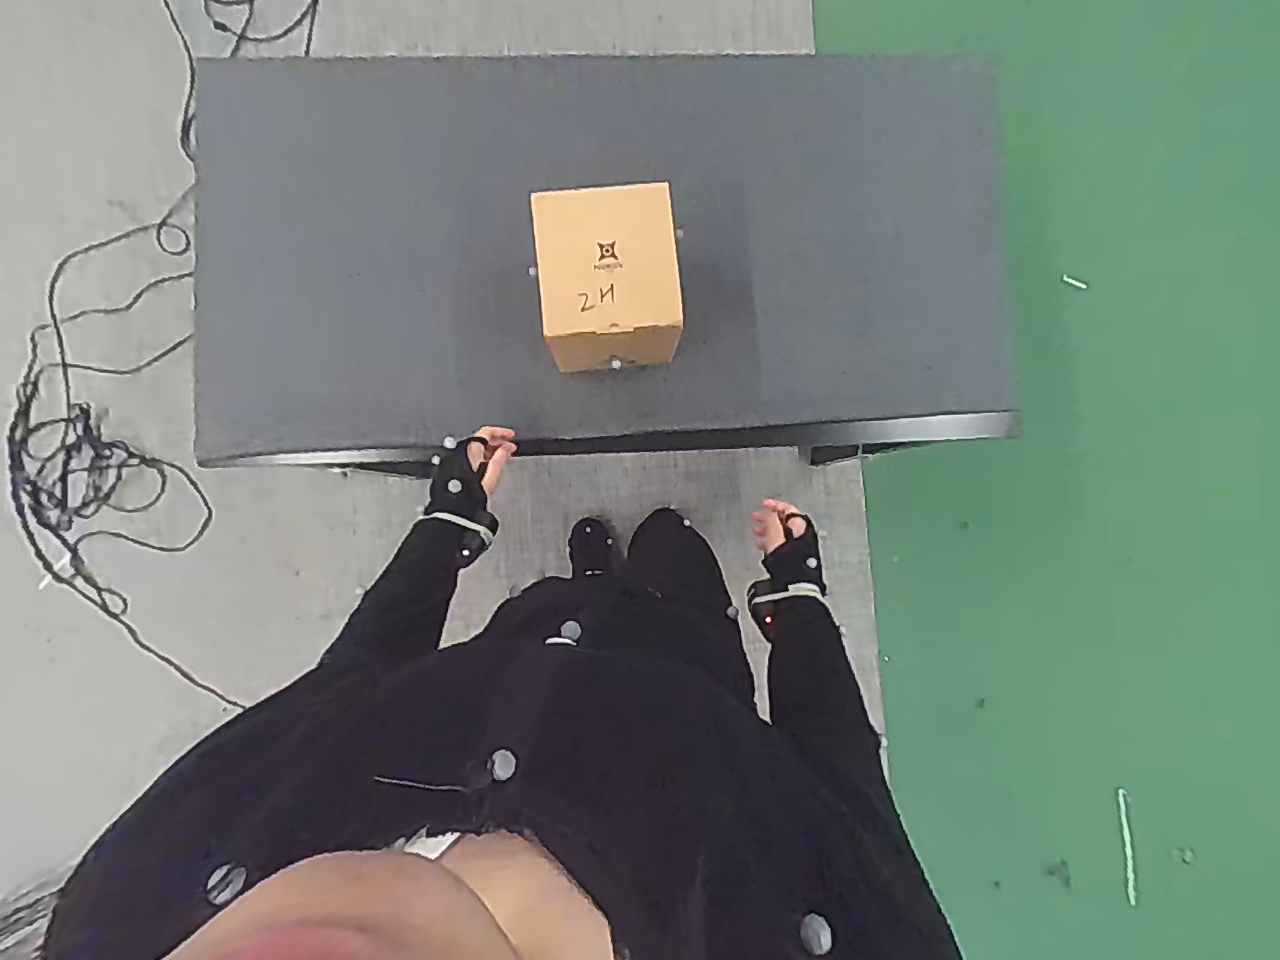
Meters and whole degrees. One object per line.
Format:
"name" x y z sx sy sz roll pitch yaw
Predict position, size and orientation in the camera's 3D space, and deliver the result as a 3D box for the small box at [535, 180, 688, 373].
"small box" -0.037 -0.253 0.702 0.168 0.176 0.179 -6 86 -2
